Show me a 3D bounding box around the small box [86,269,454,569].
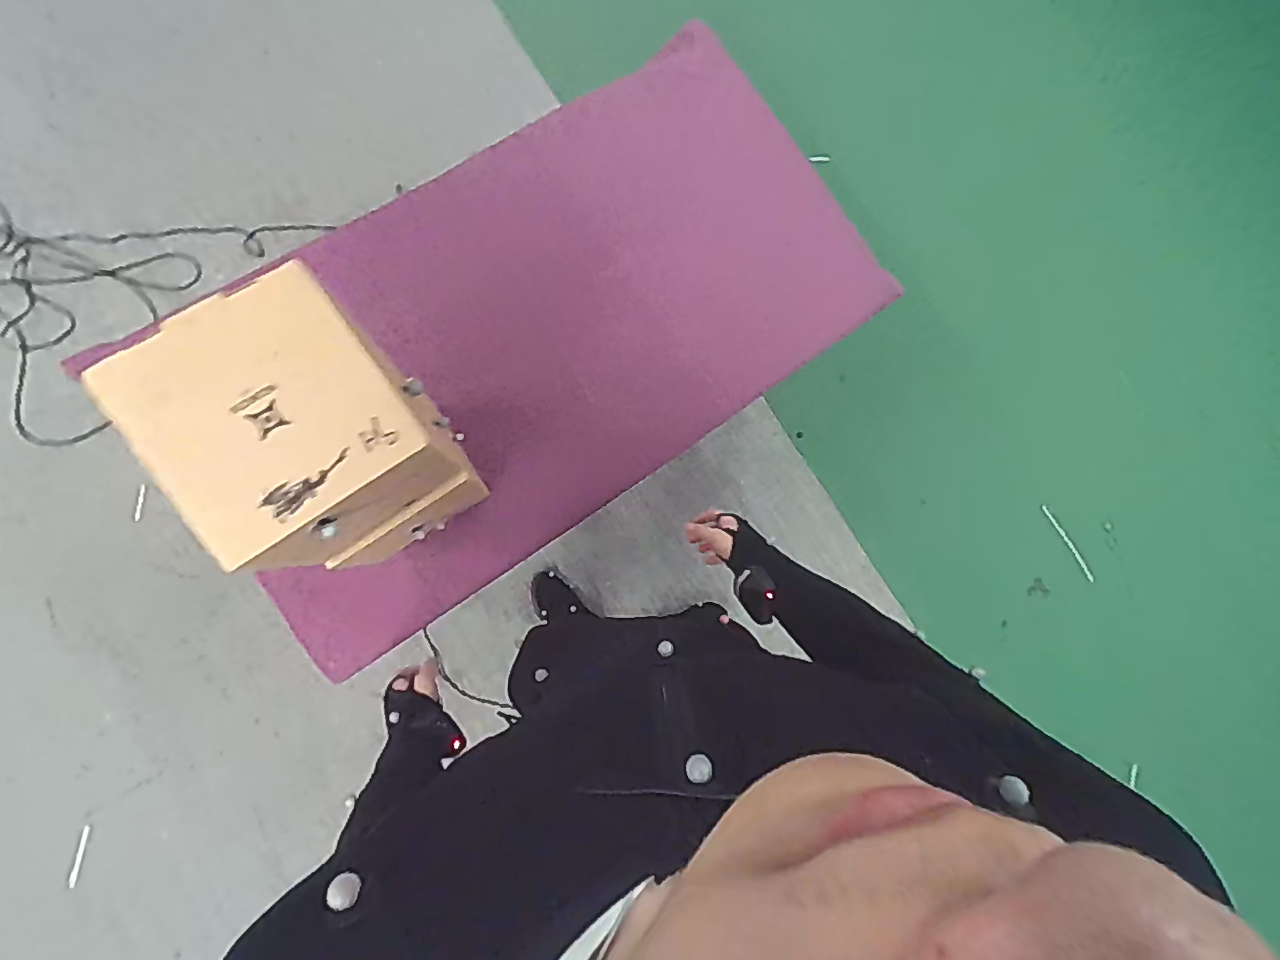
[{"bbox_3d":[-0.292,-0.038,0.475,0.168,0.176,0.179,-36,90,-11],"label":"small box"}]

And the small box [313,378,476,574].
[{"bbox_3d":[-0.314,-0.012,0.636,0.168,0.176,0.179,-35,90,-12],"label":"small box"}]
